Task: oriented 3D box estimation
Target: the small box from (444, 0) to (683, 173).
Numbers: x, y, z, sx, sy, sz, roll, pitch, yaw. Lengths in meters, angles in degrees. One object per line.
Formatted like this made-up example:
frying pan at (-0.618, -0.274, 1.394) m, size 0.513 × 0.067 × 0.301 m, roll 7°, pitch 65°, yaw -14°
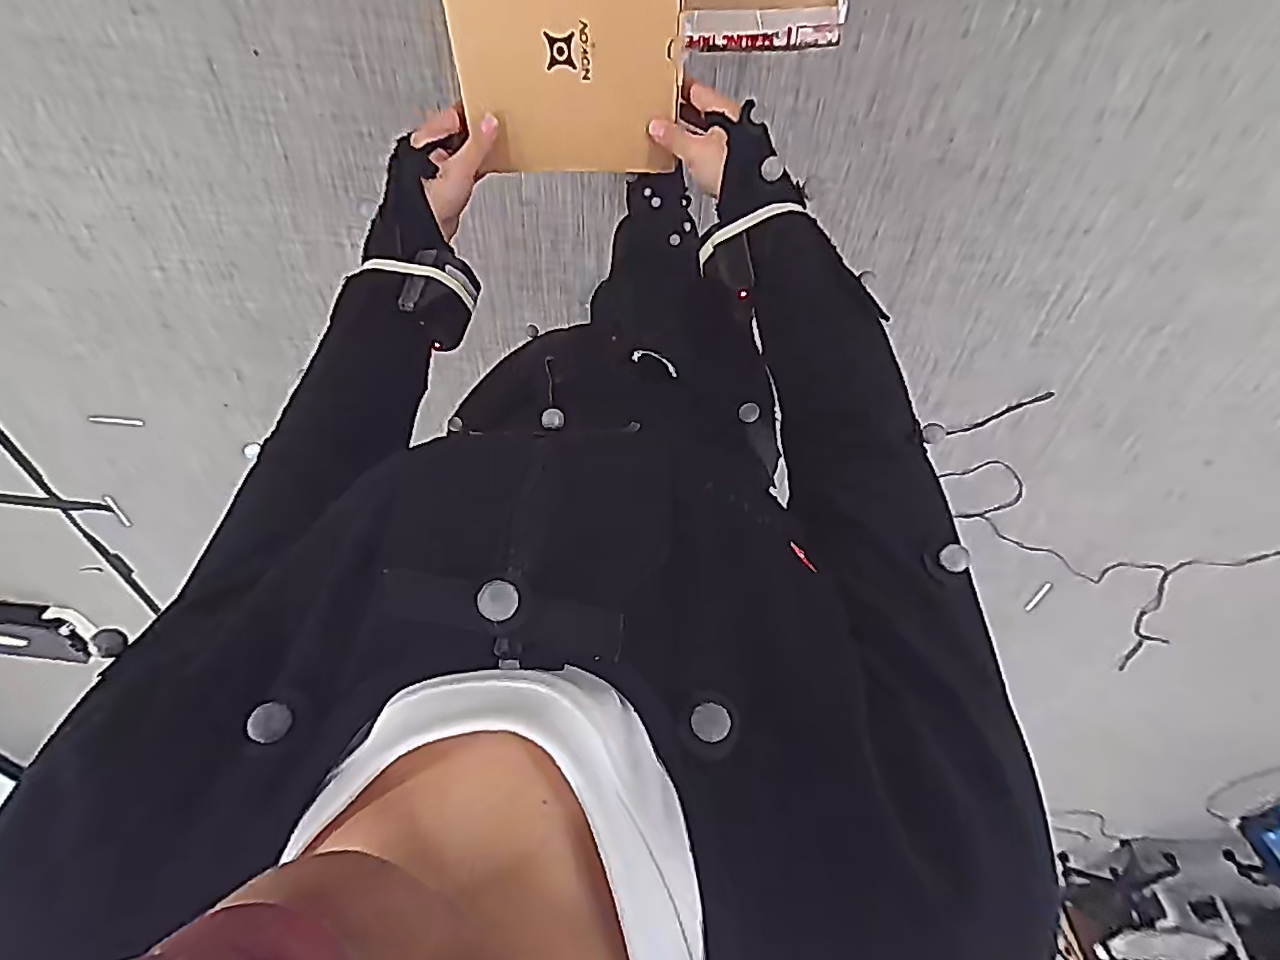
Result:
small box at (-0.053, -0.379, 0.470) m, size 0.179 × 0.176 × 0.168 m, roll 0°, pitch 133°, yaw 1°
